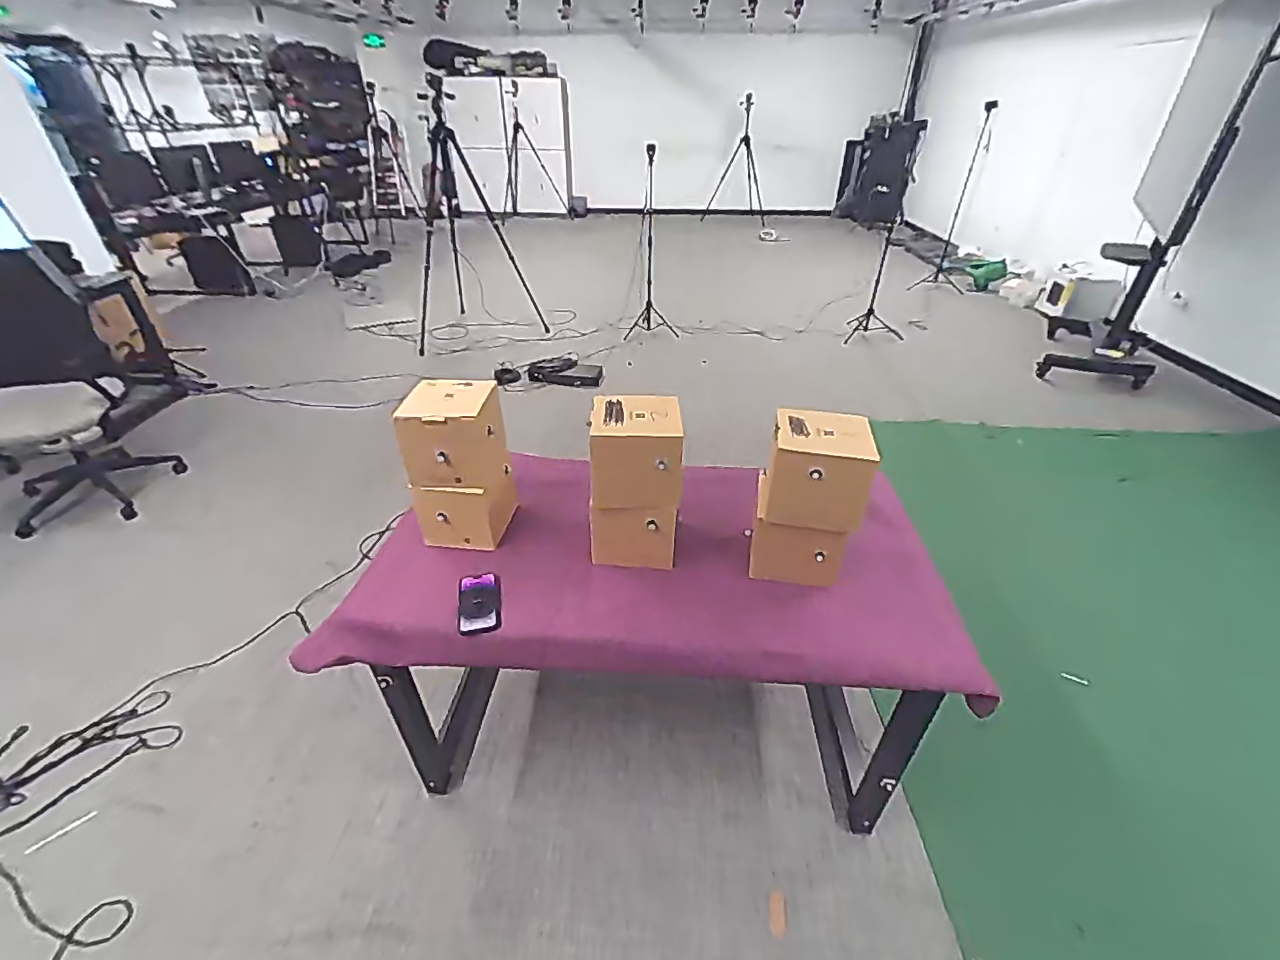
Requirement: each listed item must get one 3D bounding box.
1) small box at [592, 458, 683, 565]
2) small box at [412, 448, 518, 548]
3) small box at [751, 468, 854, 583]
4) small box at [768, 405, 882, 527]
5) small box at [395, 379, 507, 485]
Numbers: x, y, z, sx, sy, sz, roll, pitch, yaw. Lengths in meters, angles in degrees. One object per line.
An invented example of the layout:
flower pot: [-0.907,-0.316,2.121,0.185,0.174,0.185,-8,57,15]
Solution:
small box: [-0.001,0.070,1.182,0.179,0.176,0.168,3,34,5]
small box: [-0.387,0.039,1.235,0.168,0.176,0.179,3,35,6]
small box: [0.336,0.097,1.141,0.179,0.176,0.168,6,35,10]
small box: [0.342,-0.029,1.036,0.179,0.176,0.168,7,35,9]
small box: [-0.388,-0.102,1.148,0.168,0.176,0.179,1,35,1]
